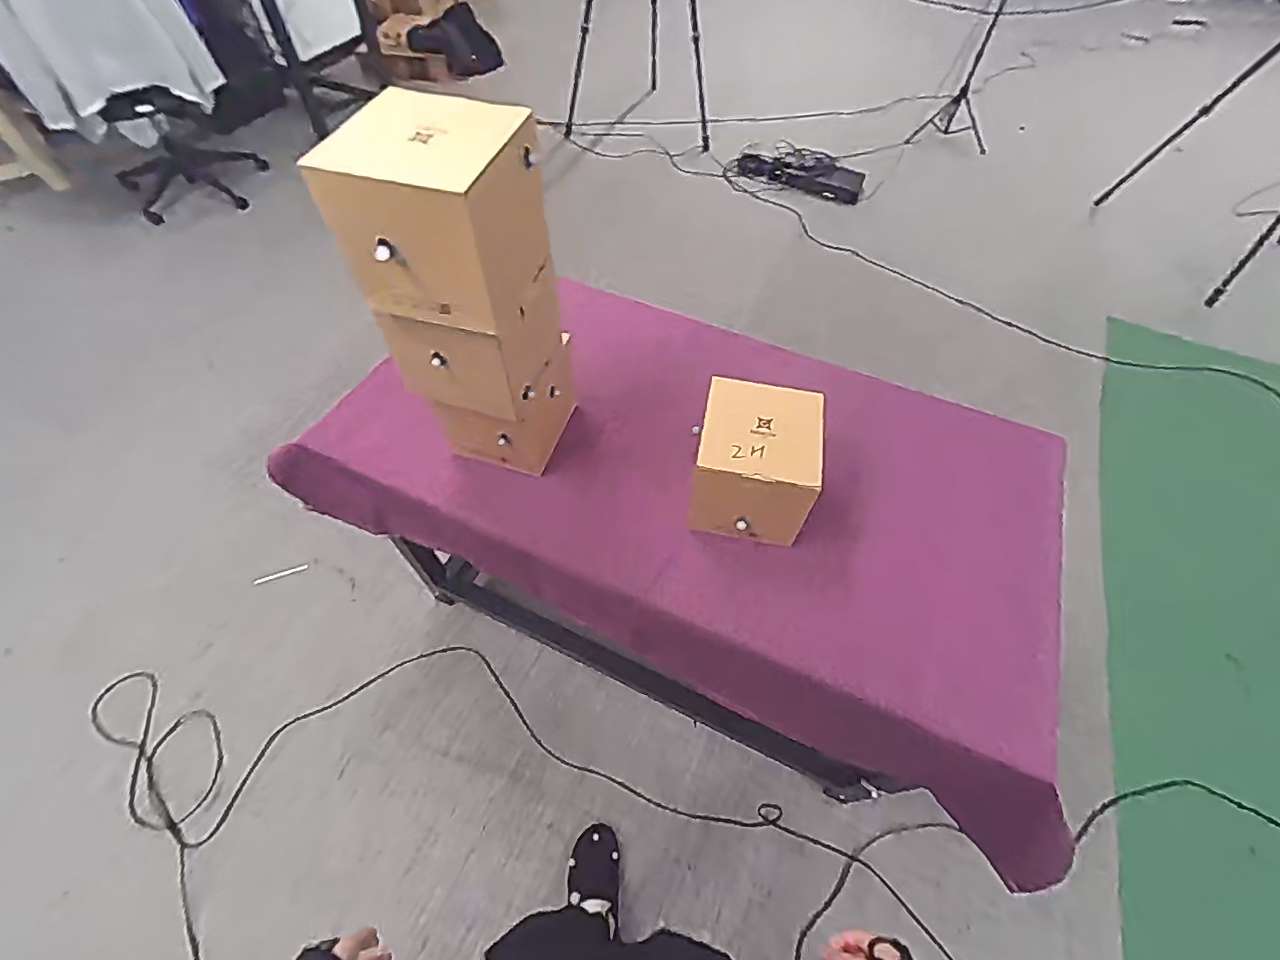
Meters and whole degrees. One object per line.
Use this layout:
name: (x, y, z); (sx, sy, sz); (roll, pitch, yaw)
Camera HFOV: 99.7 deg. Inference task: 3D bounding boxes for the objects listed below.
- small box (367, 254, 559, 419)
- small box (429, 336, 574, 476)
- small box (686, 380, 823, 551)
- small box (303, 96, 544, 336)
small box: (-0.223, -0.207, 0.741); (0.179, 0.176, 0.168); (16, 57, 9)
small box: (-0.214, -0.133, 0.889); (0.168, 0.176, 0.179); (17, 56, 9)
small box: (0.168, -0.019, 0.818); (0.168, 0.176, 0.179); (11, 56, 6)
small box: (-0.214, -0.287, 0.599); (0.168, 0.176, 0.179); (13, 56, 6)
